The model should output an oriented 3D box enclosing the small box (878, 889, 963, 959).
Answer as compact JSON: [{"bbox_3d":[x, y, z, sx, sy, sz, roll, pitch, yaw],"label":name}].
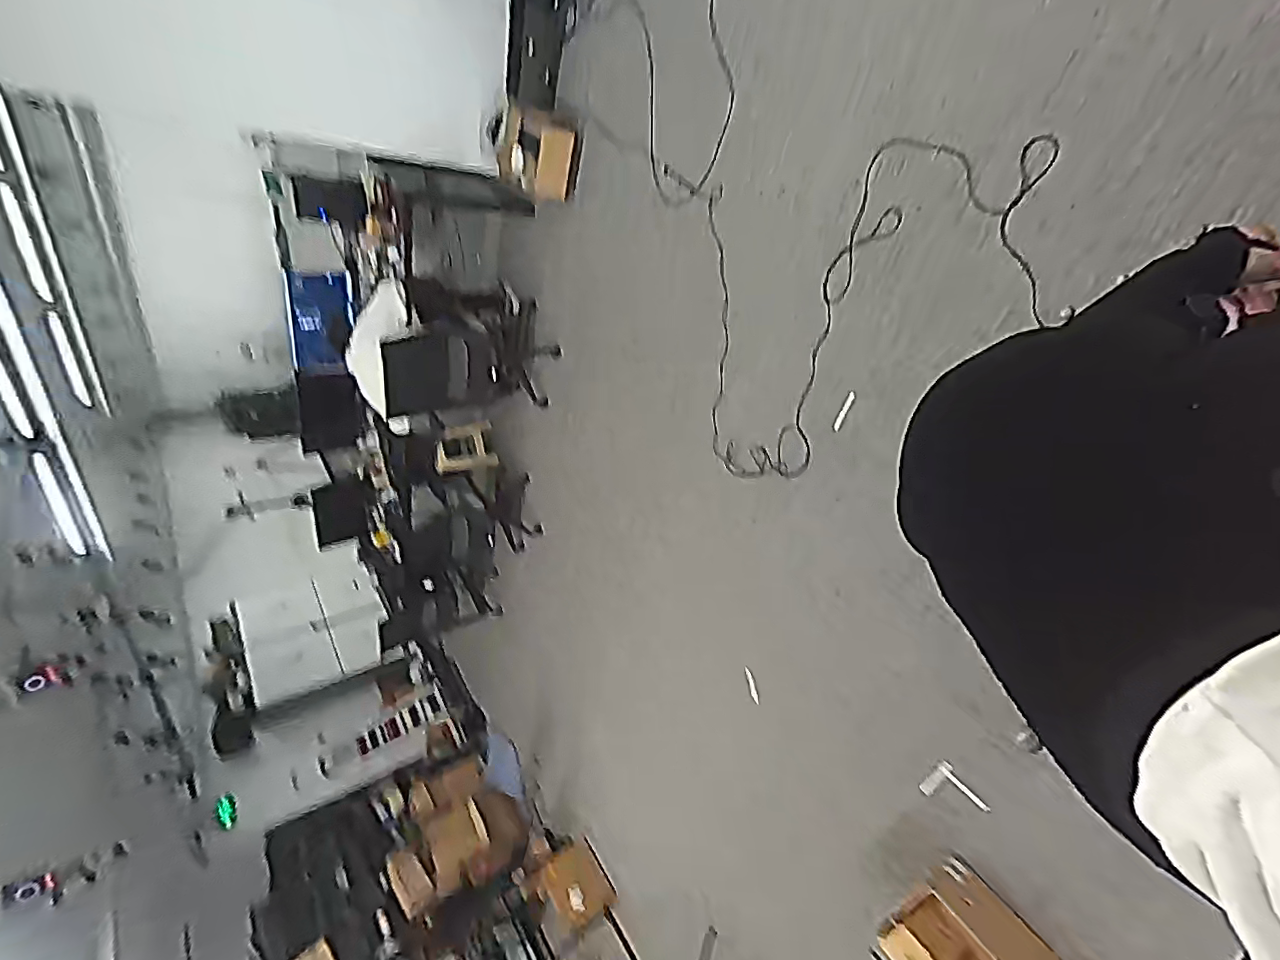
[{"bbox_3d":[0.959,1.552,1.841,0.168,0.176,0.179,43,130,34],"label":"small box"}]
